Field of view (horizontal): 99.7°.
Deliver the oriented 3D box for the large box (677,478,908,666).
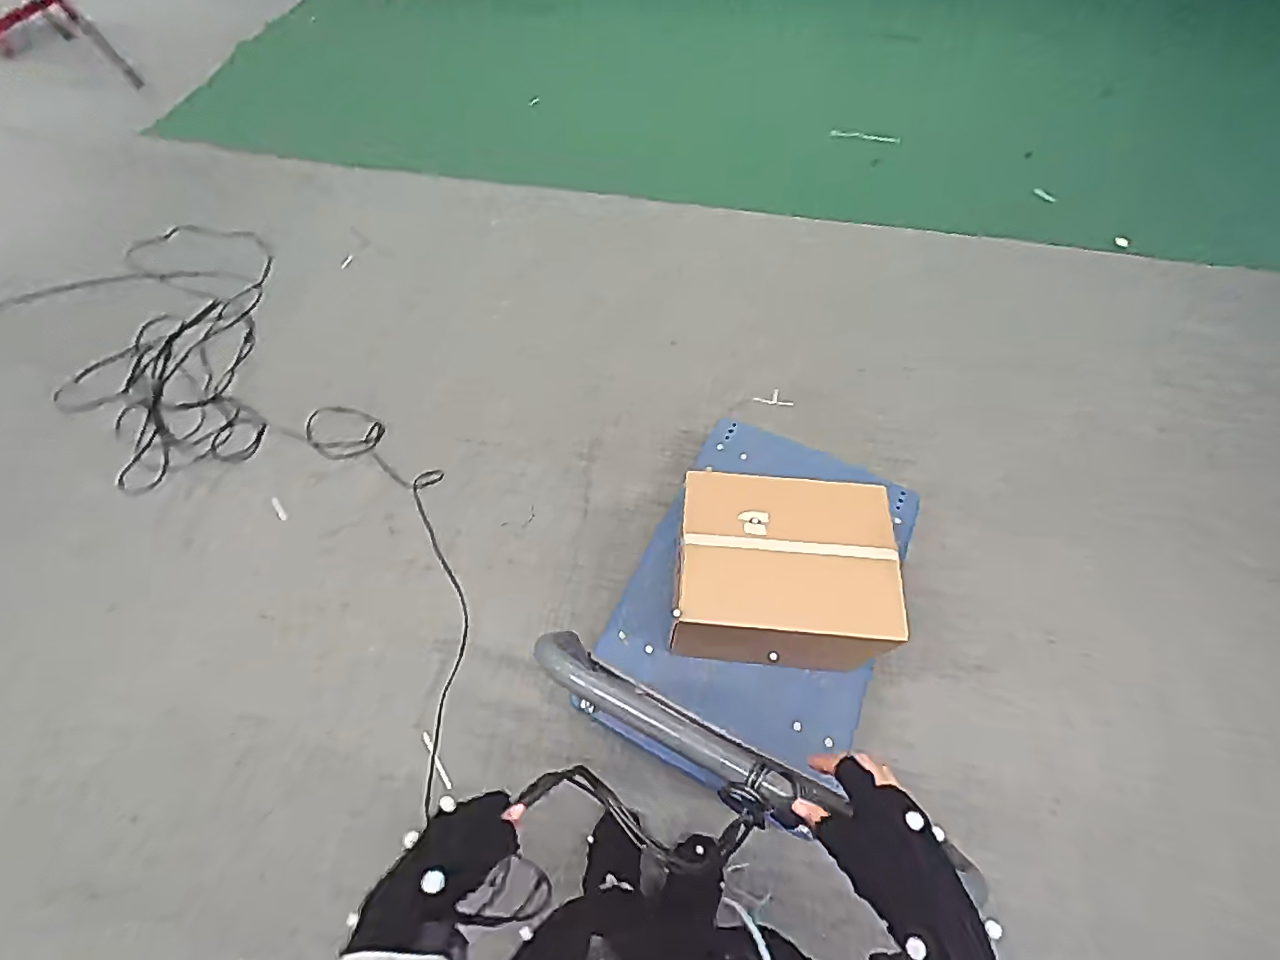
[{"bbox_3d":[0.294,0.210,1.166,0.408,0.320,0.320,4,61,3],"label":"large box"}]
